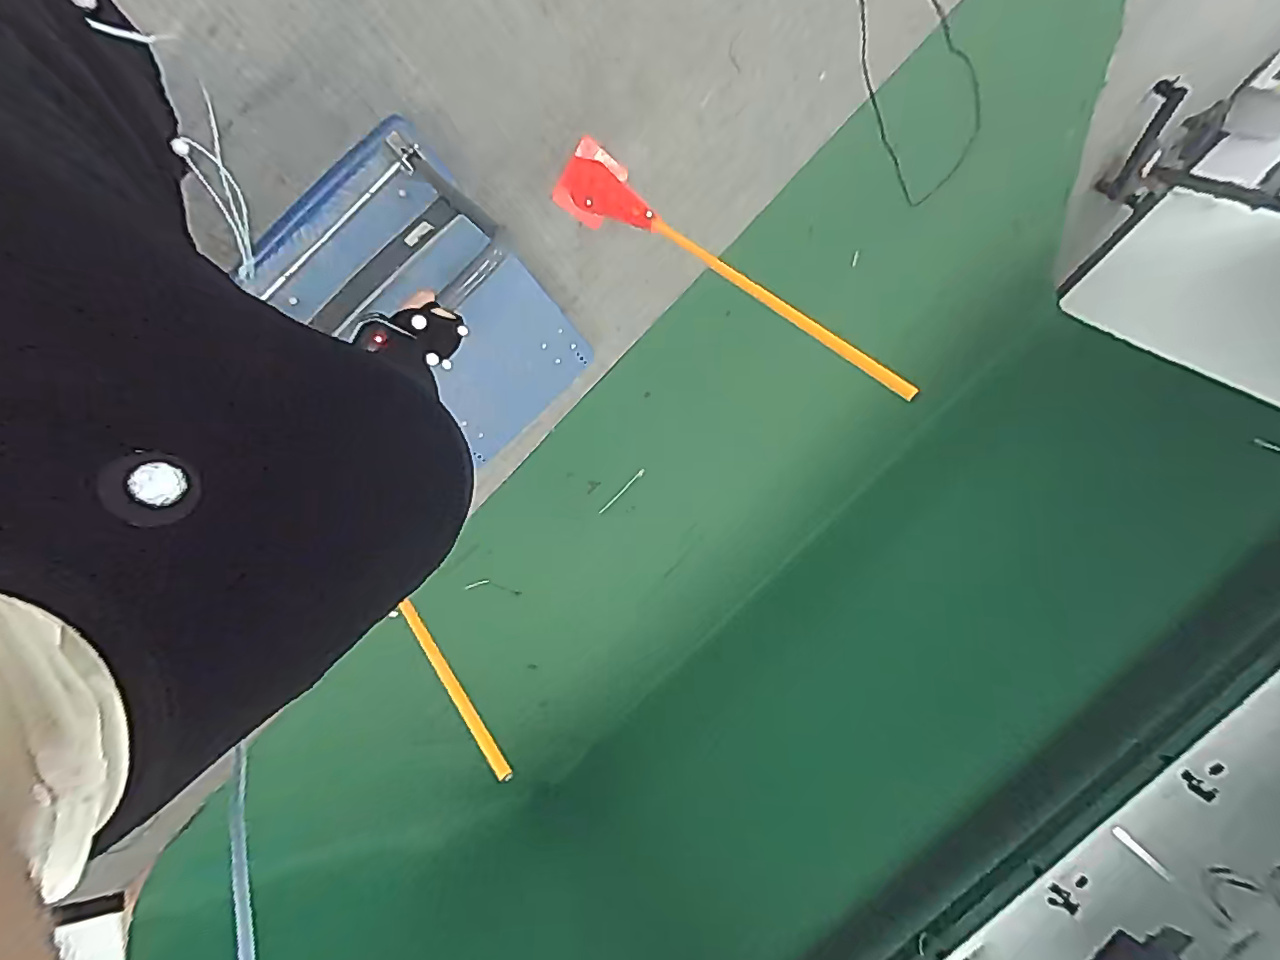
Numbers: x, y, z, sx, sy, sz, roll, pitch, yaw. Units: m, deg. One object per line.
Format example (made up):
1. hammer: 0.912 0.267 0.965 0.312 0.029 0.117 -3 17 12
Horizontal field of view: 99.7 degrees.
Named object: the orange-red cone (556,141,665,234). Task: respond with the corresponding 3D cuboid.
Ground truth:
1. orange-red cone: -0.046 -0.784 1.543 0.198 0.360 0.199 14 115 -52
